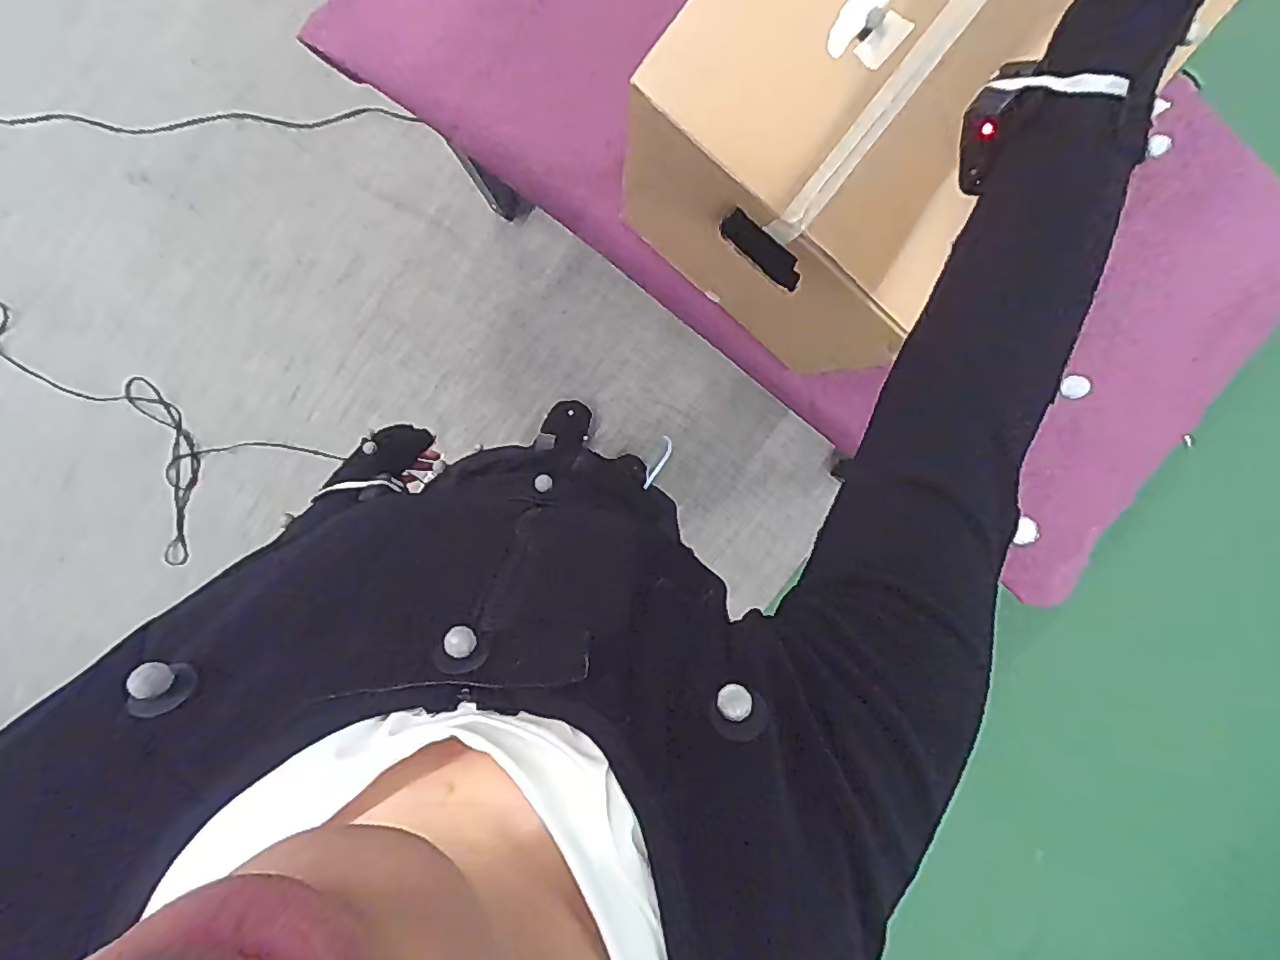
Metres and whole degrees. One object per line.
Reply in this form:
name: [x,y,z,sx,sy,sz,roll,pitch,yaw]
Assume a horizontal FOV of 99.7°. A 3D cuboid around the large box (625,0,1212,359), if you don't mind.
large box: [0.227,-0.381,0.559,0.320,0.320,0.408,39,96,-8]
